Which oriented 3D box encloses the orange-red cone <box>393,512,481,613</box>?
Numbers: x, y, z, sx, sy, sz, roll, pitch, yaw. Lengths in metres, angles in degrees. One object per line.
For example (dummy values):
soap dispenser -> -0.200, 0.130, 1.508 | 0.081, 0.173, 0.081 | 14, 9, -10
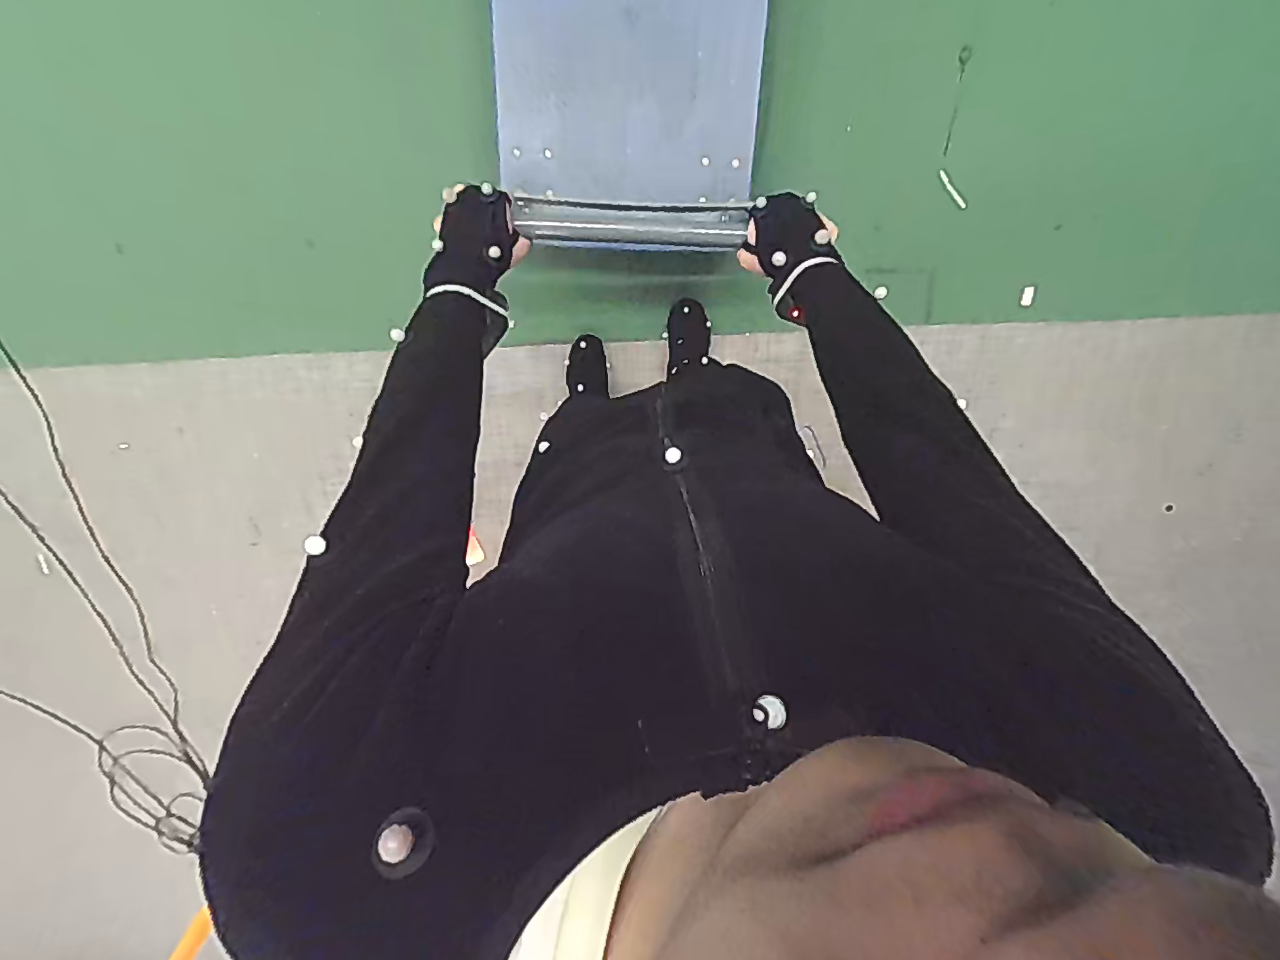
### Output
orange-red cone -> -0.621, 0.265, 1.550 | 0.199, 0.360, 0.198 | -16, 110, 6
